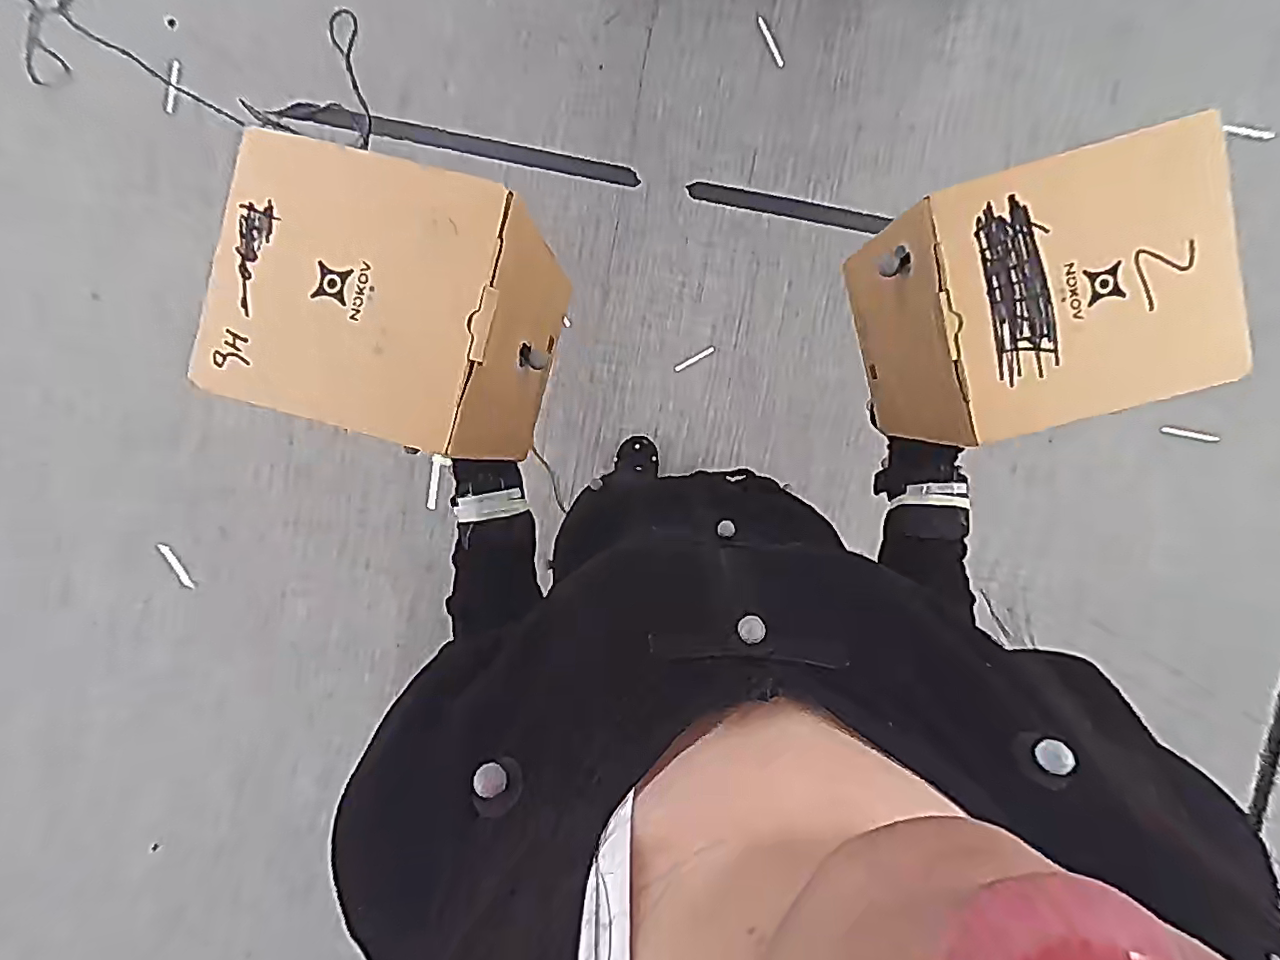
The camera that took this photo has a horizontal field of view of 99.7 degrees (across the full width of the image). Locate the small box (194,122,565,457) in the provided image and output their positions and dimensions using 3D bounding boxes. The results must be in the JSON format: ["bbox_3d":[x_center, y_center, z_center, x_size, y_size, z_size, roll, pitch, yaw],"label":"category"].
[{"bbox_3d":[-0.167,-0.118,0.406,0.179,0.176,0.168,15,92,3],"label":"small box"}]
